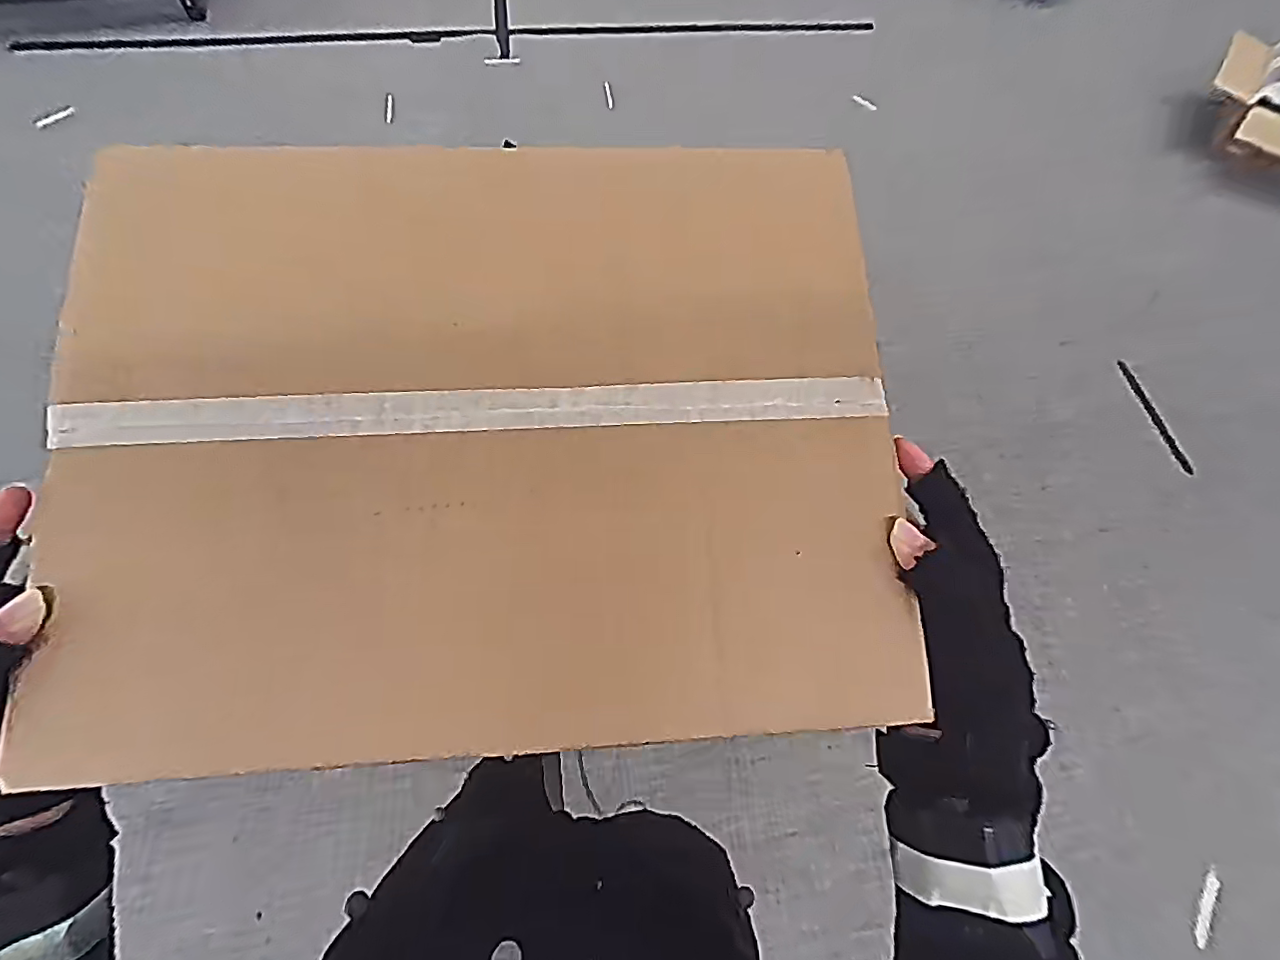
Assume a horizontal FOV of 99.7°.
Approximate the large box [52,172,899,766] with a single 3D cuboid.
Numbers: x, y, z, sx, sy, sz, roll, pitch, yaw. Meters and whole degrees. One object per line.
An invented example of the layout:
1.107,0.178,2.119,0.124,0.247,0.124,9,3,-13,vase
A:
-0.086,0.000,0.432,0.408,0.320,0.320,-2,79,-4,large box
